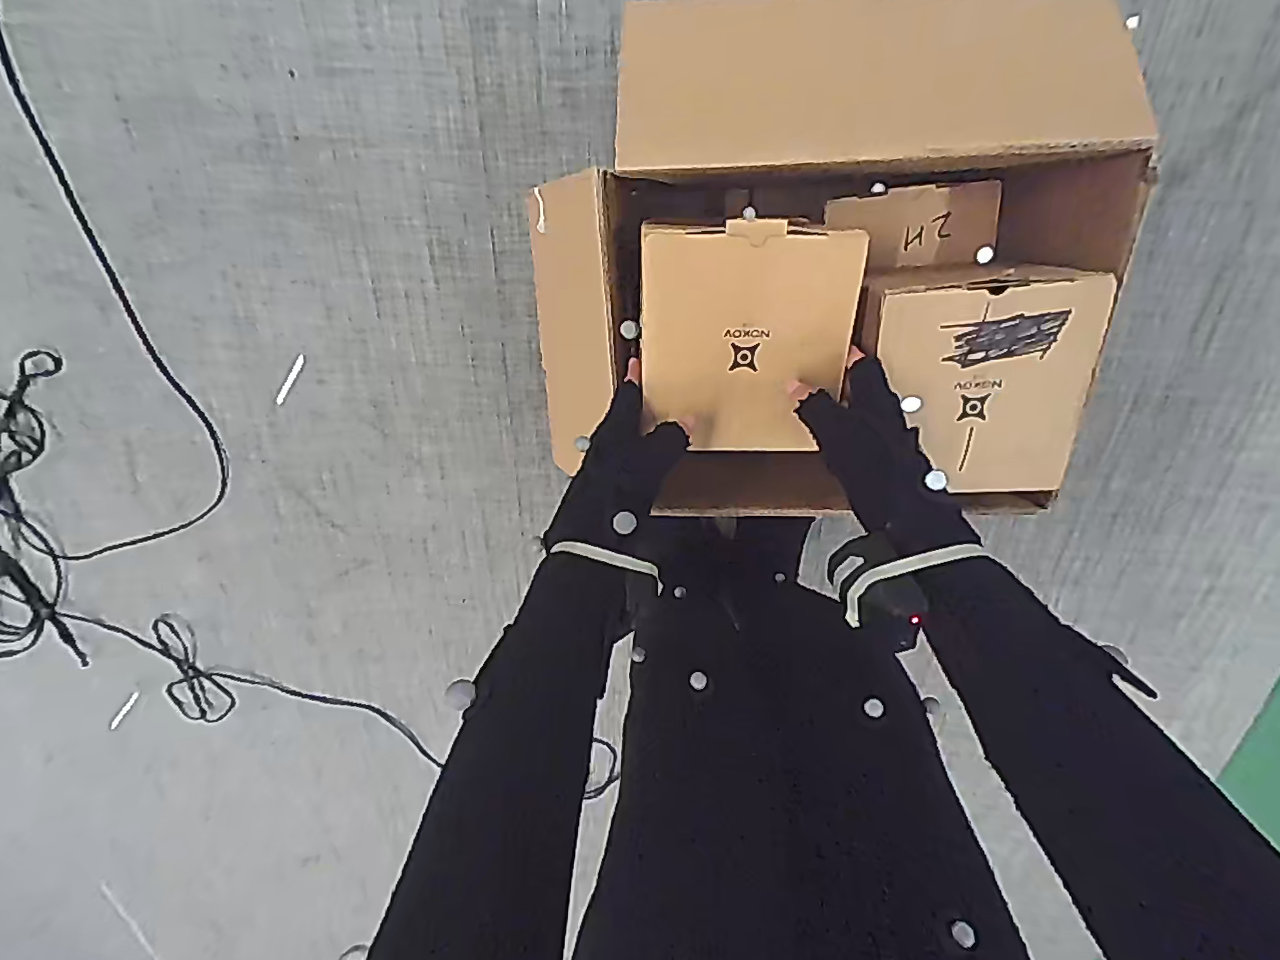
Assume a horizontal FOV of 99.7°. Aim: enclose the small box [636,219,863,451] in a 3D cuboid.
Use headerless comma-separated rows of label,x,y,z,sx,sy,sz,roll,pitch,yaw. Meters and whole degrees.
small box,0.081,-0.140,0.498,0.168,0.176,0.179,0,117,0
